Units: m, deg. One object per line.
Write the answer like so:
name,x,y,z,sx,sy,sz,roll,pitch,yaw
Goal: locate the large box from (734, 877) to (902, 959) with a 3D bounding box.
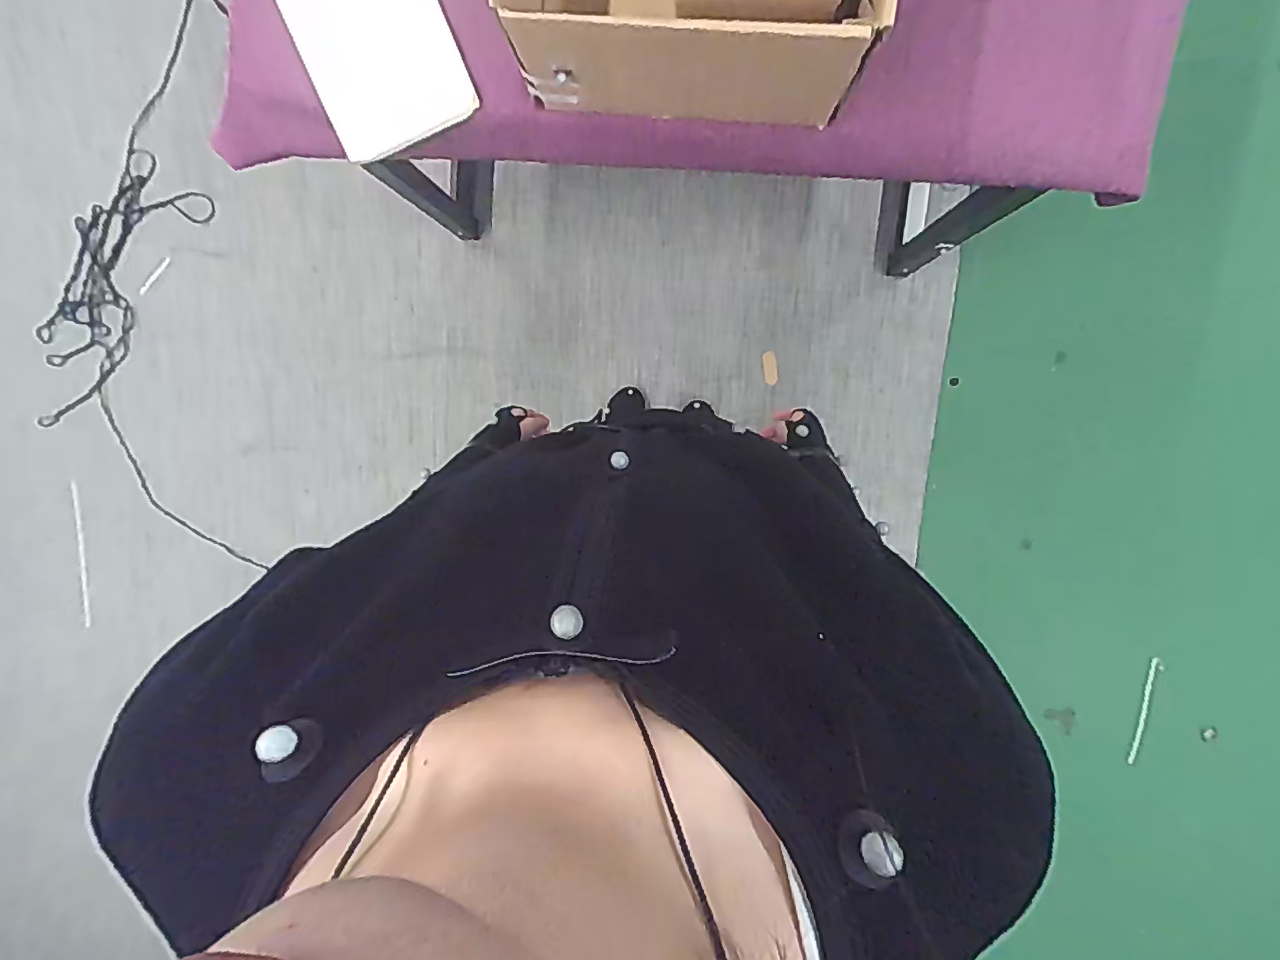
large box,0.494,1.369,1.483,0.408,0.320,0.320,-10,97,5
